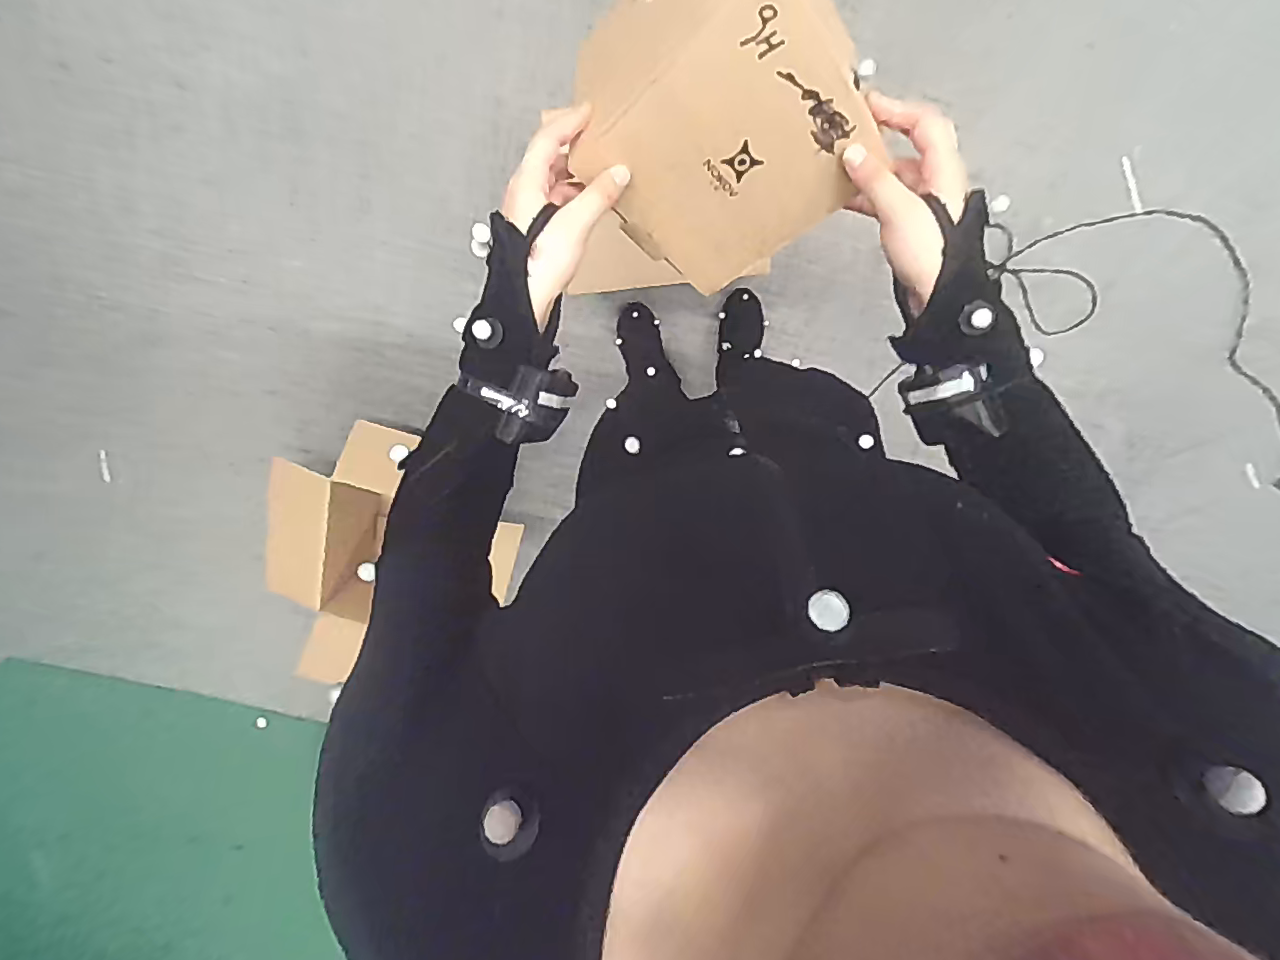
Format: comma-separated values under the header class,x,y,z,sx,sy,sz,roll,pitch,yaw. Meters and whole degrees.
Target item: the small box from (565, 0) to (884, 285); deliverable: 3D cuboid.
class,x,y,z,sx,sy,sz,roll,pitch,yaw
small box,0.065,-0.303,0.431,0.179,0.176,0.168,-24,143,38
